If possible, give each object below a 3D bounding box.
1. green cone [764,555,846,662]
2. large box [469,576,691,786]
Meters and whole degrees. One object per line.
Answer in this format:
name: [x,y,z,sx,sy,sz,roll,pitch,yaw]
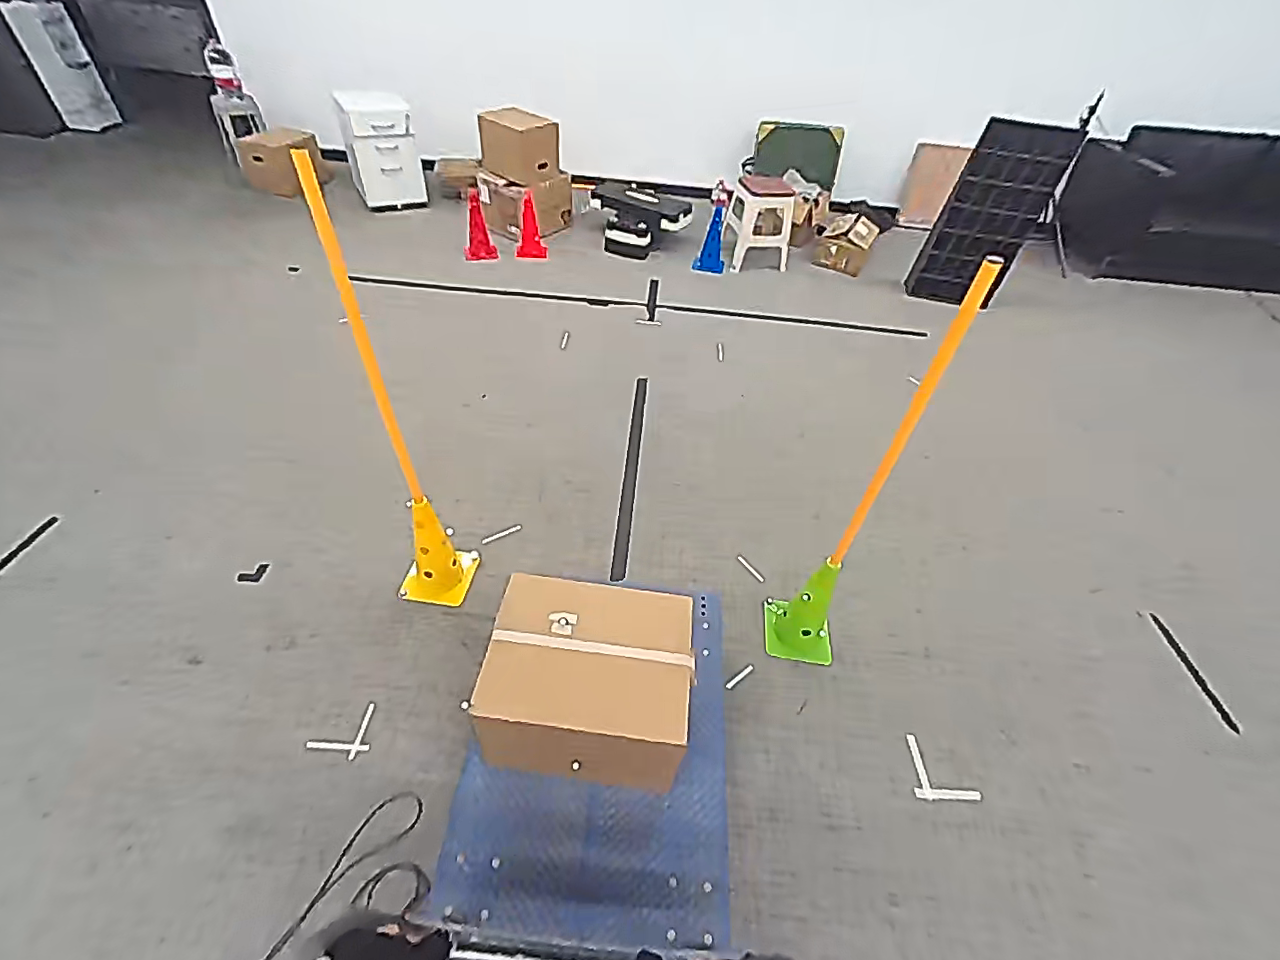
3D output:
green cone: [0.506,0.342,1.565,0.202,0.368,0.200,10,45,1]
large box: [-0.108,0.445,1.189,0.408,0.320,0.320,8,45,2]
